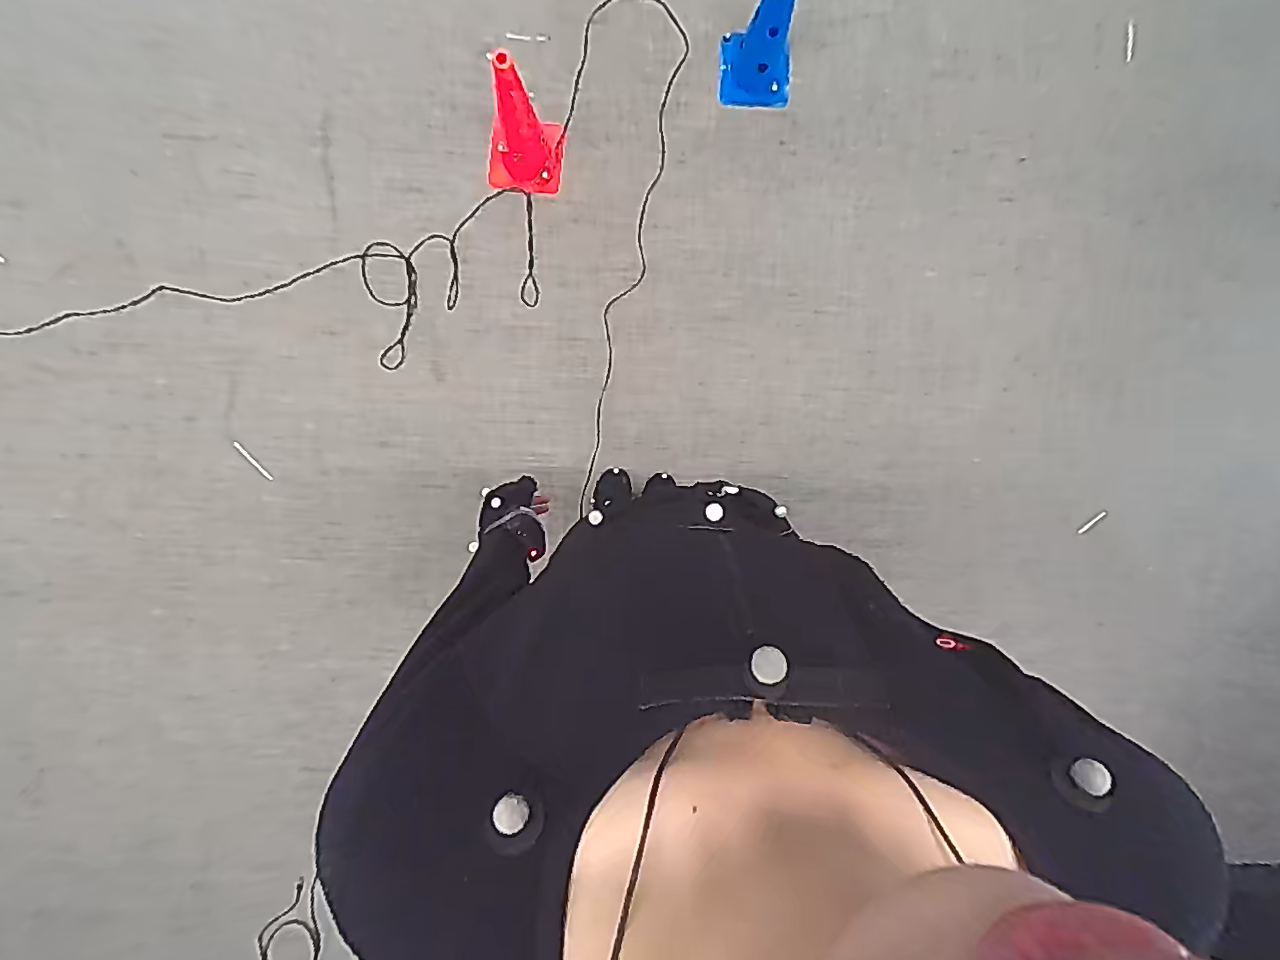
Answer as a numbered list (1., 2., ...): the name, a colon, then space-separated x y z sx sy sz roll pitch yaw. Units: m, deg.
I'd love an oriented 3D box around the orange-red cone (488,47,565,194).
1. orange-red cone: -0.303 -0.902 1.323 0.198 0.360 0.199 7 88 -4
